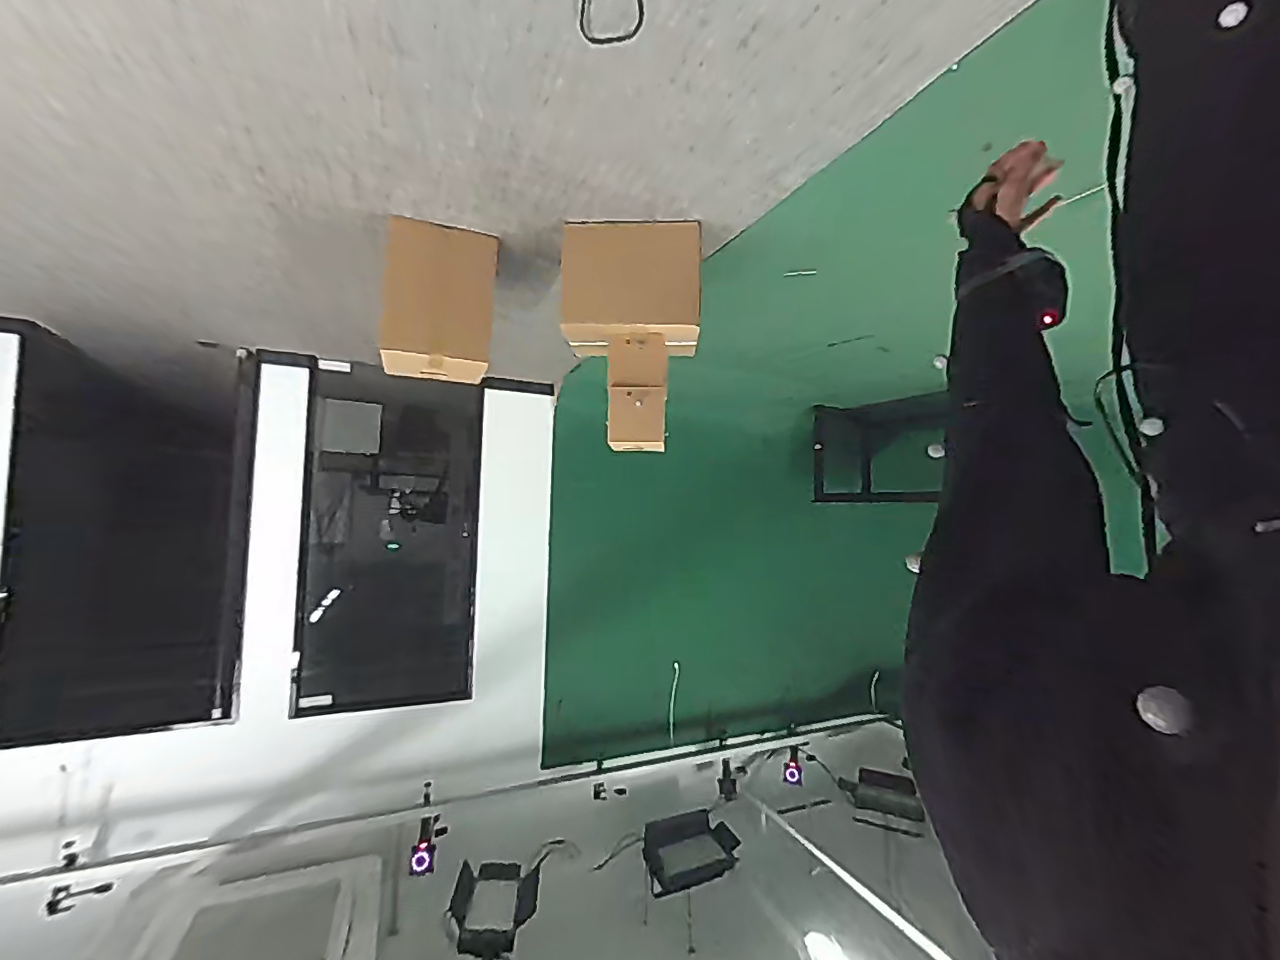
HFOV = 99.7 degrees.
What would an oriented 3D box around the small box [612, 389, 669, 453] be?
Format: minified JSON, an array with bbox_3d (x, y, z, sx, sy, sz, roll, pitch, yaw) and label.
[{"bbox_3d":[0.005,-0.177,1.659,0.168,0.176,0.179,0,175,4],"label":"small box"}]

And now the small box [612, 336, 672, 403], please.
[{"bbox_3d":[0.010,-0.340,1.683,0.168,0.176,0.179,0,176,9],"label":"small box"}]
